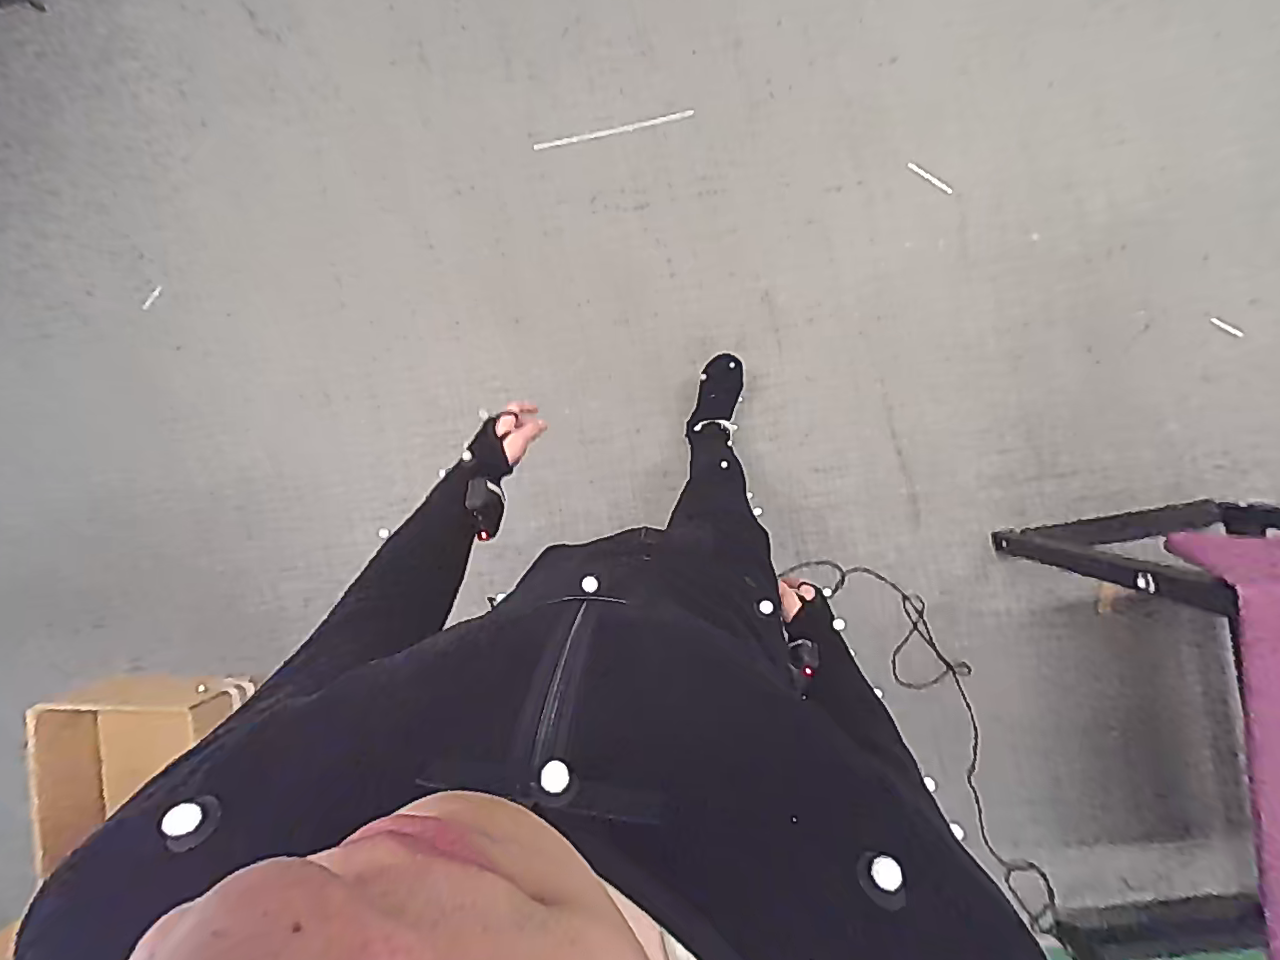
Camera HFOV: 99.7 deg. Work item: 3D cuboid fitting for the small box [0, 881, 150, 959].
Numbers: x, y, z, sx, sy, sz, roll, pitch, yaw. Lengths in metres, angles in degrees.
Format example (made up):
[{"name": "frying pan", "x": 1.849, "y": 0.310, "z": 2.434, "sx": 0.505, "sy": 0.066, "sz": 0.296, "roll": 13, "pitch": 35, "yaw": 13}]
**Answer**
[{"name": "small box", "x": -1.152, "y": 0.954, "z": 1.093, "sx": 0.179, "sy": 0.176, "sz": 0.168, "roll": 0, "pitch": 93, "yaw": 4}]
